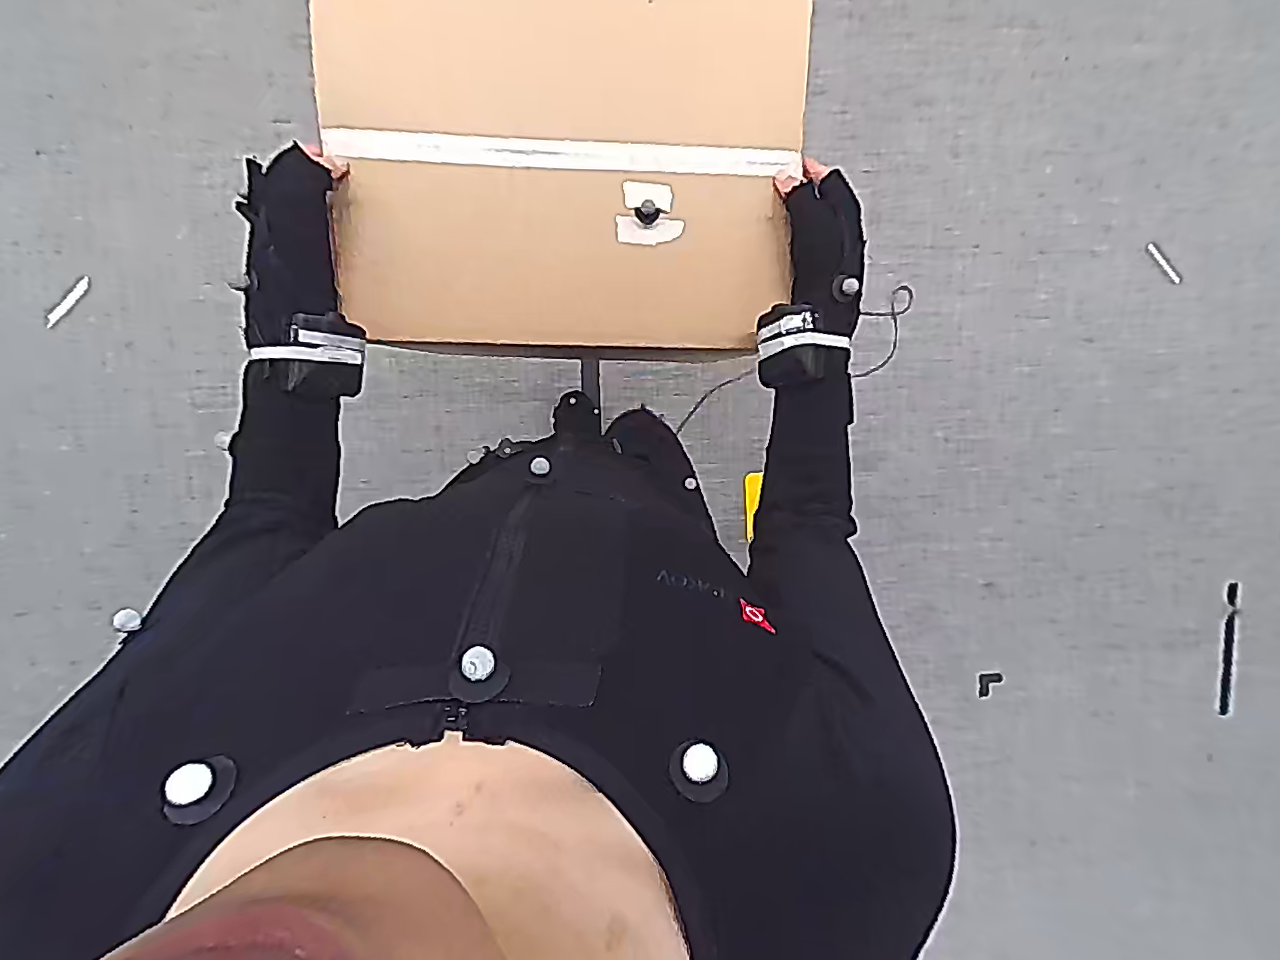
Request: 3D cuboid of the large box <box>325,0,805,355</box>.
[{"bbox_3d":[-0.071,-0.308,0.614,0.408,0.320,0.320,0,101,-5],"label":"large box"}]
